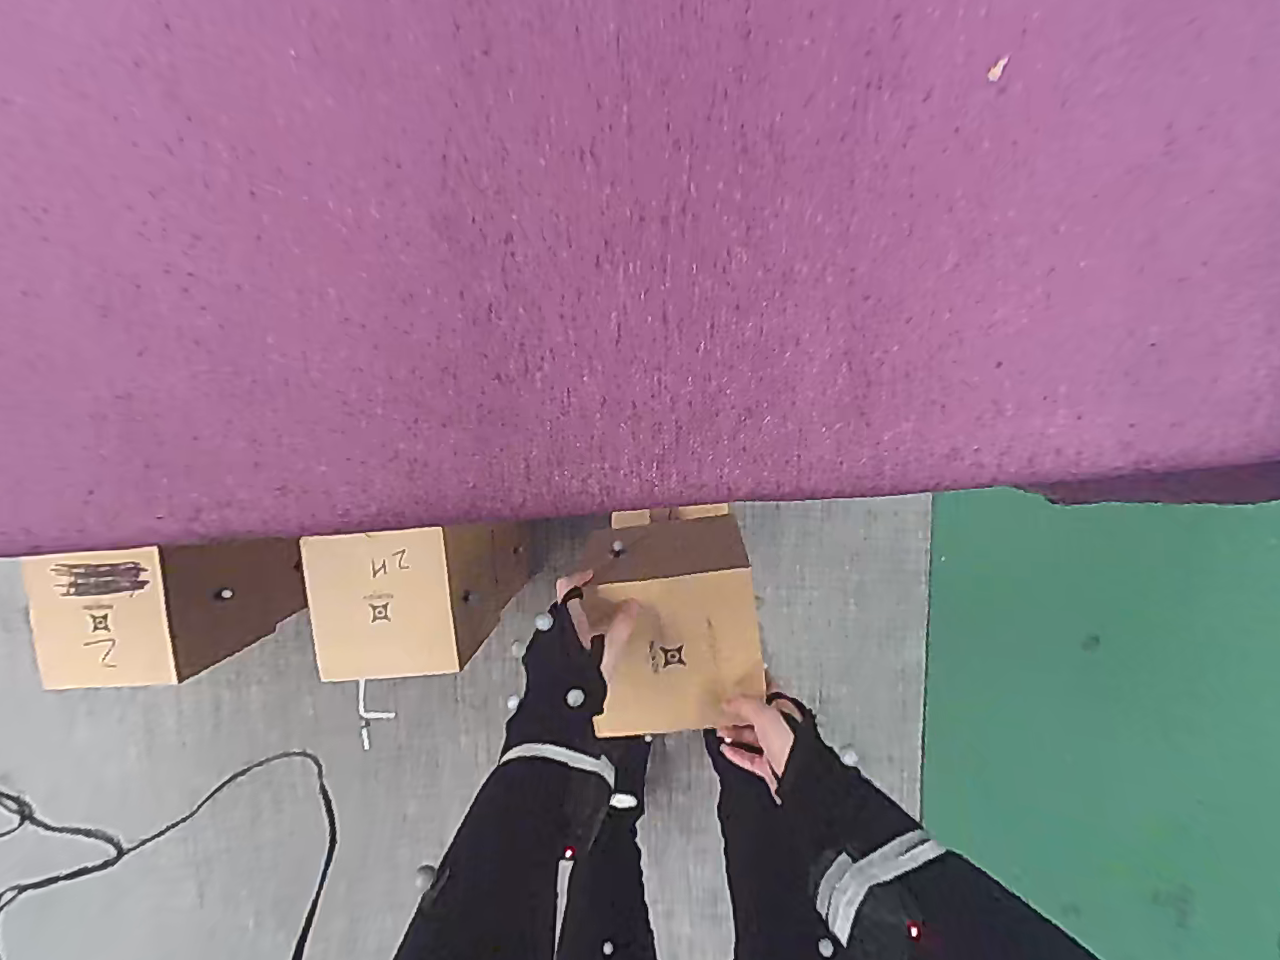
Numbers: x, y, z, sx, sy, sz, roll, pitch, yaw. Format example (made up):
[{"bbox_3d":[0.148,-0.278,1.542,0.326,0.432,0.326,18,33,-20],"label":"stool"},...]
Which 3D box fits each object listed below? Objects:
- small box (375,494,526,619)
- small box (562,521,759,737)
[{"bbox_3d":[-0.293,0.115,0.867,0.179,0.176,0.168,-3,96,2],"label":"small box"},{"bbox_3d":[0.029,0.155,0.600,0.179,0.176,0.168,-8,104,7],"label":"small box"}]
